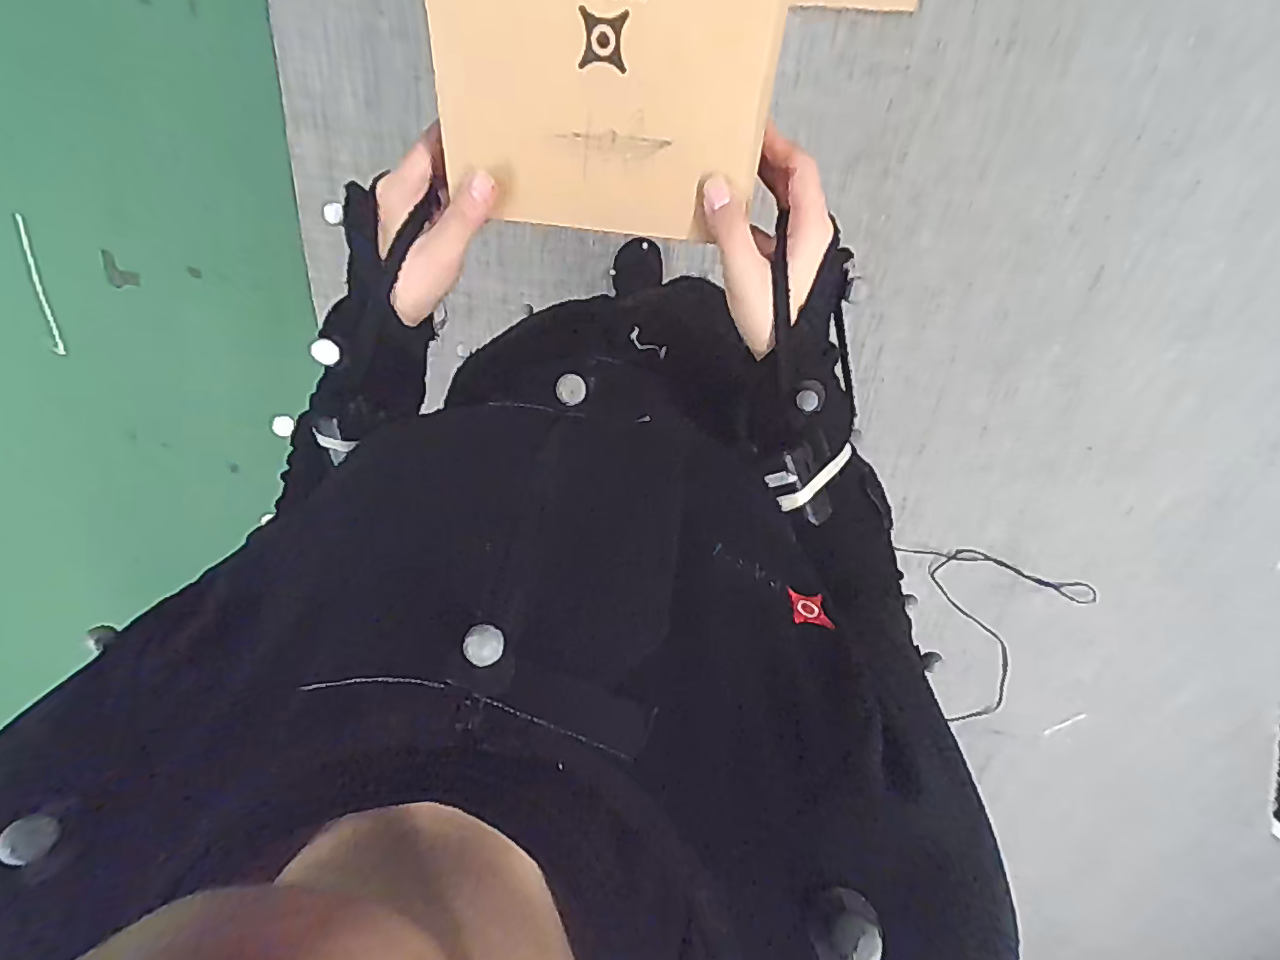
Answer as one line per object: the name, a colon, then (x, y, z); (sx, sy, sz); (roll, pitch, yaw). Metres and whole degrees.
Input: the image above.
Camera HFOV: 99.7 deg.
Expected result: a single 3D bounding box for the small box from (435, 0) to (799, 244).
small box: (-0.007, -0.256, 0.309); (0.168, 0.176, 0.179); (7, 128, 1)
